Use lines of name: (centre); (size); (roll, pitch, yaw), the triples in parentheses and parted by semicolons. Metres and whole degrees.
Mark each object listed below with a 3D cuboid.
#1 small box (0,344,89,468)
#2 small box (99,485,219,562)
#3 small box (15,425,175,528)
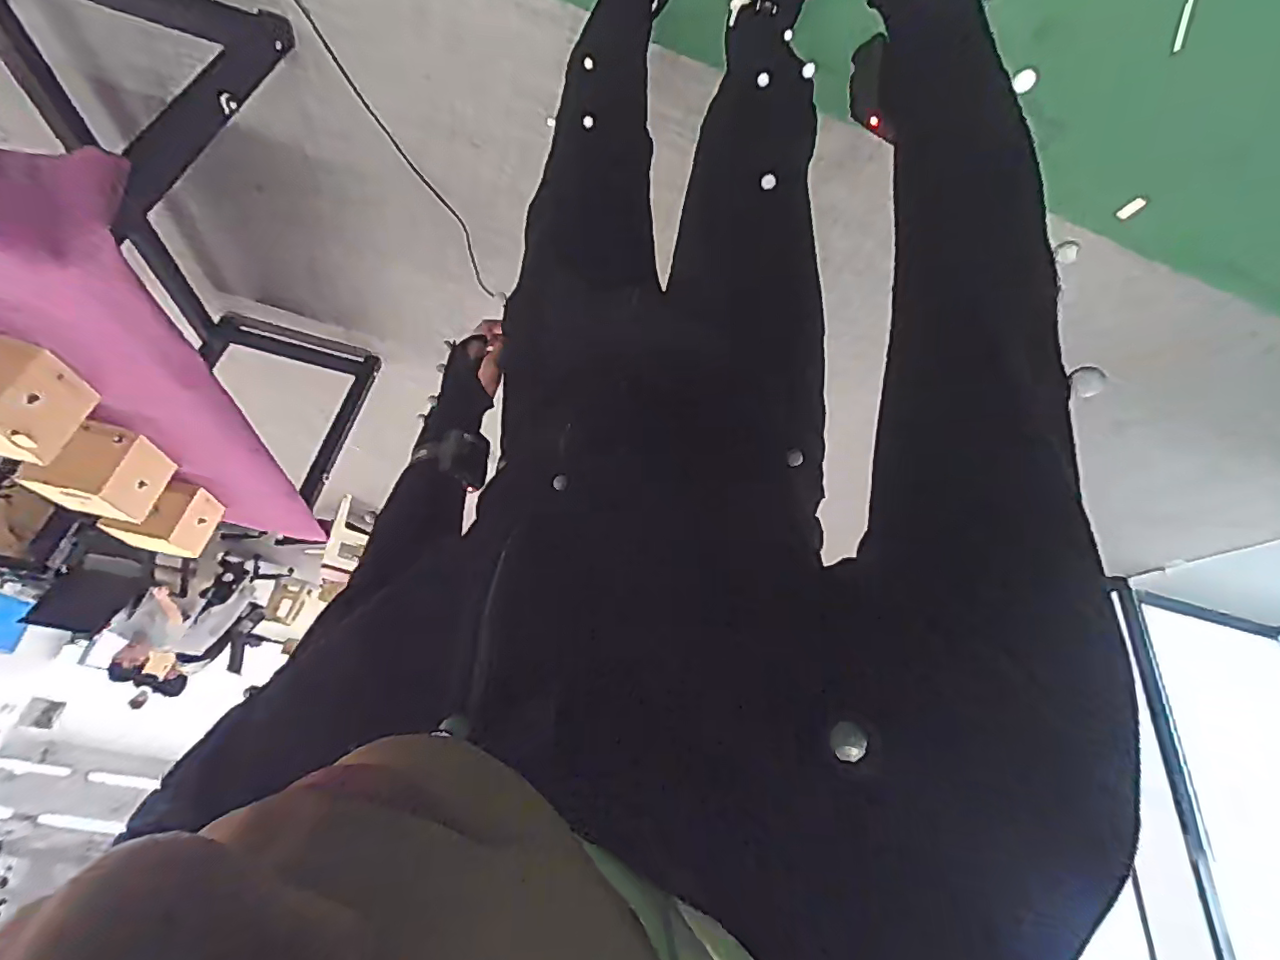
small box: (-1.178, -0.147, 0.986); (0.179, 0.176, 0.168); (15, 151, -9)
small box: (-1.331, 0.114, 1.518); (0.179, 0.176, 0.168); (13, 151, -8)
small box: (-1.256, -0.010, 1.265); (0.168, 0.176, 0.179); (14, 153, -8)
